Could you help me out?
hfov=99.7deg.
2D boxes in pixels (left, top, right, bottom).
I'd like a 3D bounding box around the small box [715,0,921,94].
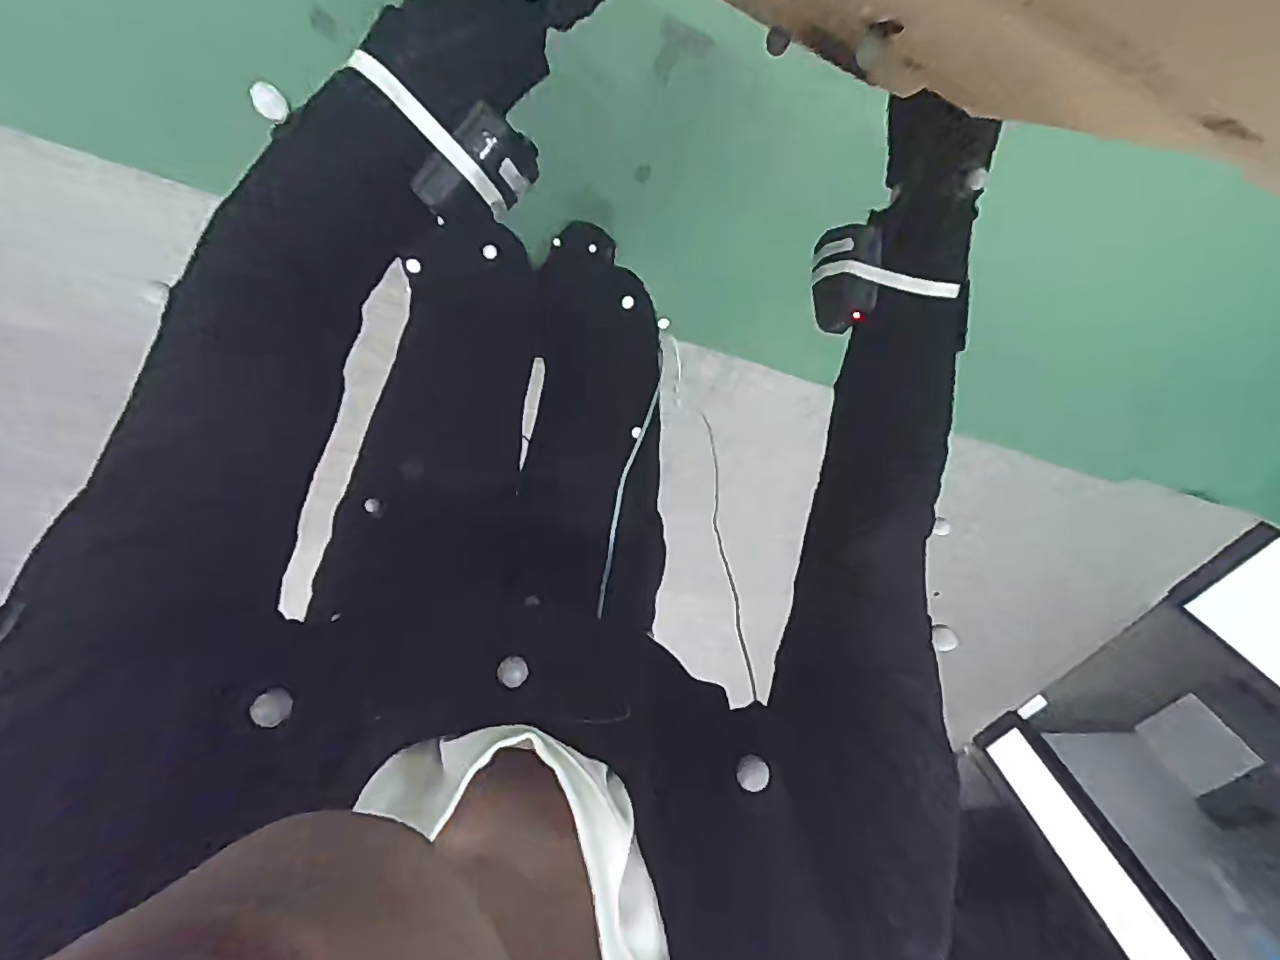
[{"bbox_3d":[0.129,-0.338,0.280,0.168,0.176,0.179,14,127,-19],"label":"small box"}]
